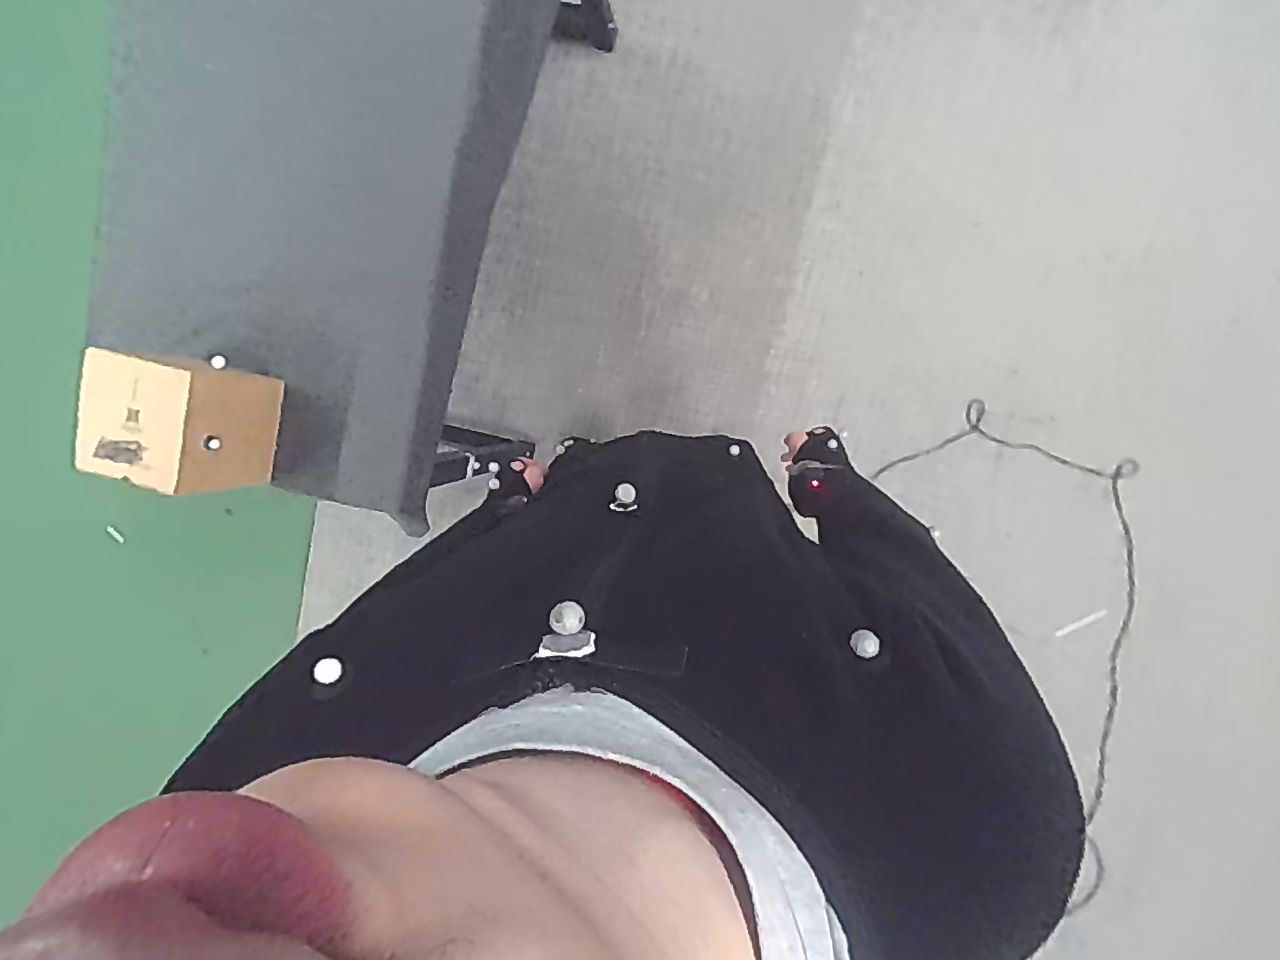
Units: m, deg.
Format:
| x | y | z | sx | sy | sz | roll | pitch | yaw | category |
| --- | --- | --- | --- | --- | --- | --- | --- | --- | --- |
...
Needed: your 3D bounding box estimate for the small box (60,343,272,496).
| x | y | z | sx | sy | sz | roll | pitch | yaw | category |
| --- | --- | --- | --- | --- | --- | --- | --- | --- | --- |
| -0.690 | -0.090 | 0.805 | 0.168 | 0.176 | 0.179 | 14 | 98 | 4 | small box |
